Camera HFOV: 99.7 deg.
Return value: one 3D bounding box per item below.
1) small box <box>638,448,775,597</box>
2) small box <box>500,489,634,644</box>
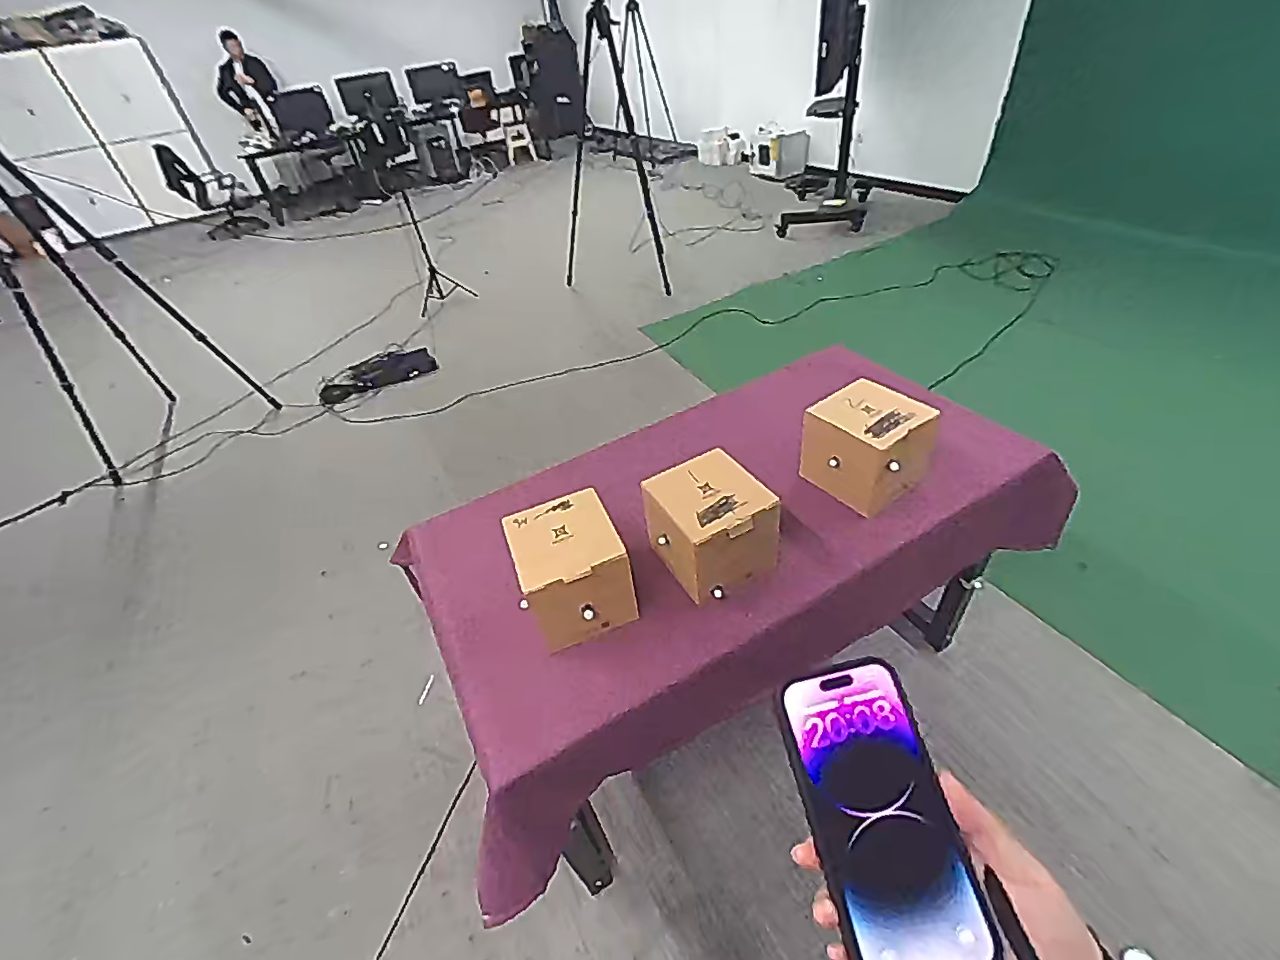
[{"bbox_3d":[0.117,0.080,0.947,0.168,0.176,0.179,-25,43,-17],"label":"small box"},{"bbox_3d":[-0.120,0.151,0.911,0.168,0.176,0.179,-19,43,-12],"label":"small box"}]
